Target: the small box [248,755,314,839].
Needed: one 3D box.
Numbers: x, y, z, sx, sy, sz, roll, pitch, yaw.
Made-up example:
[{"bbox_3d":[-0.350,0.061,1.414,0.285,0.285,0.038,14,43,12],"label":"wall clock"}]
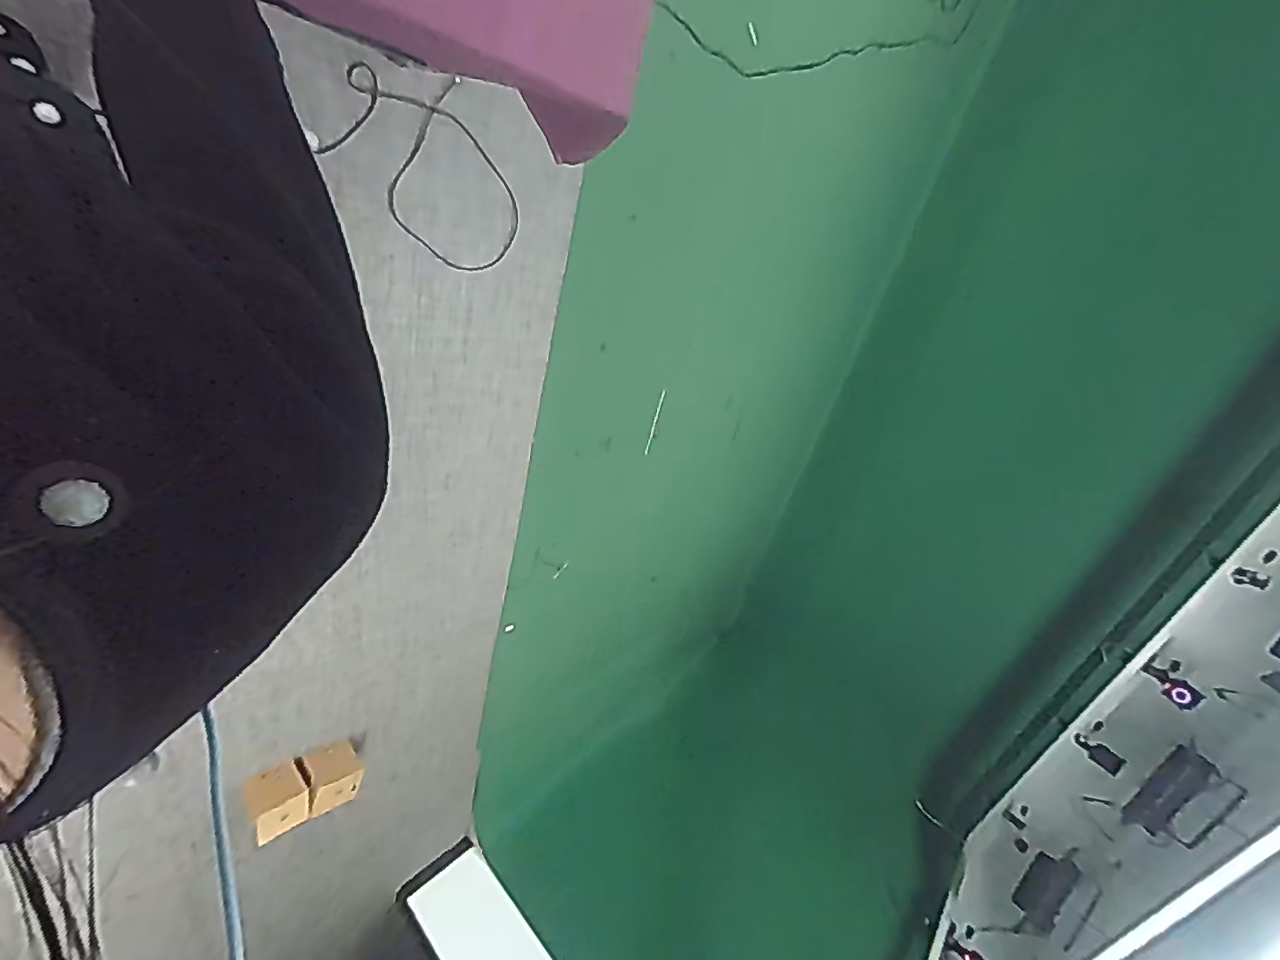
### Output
[{"bbox_3d":[-1.337,1.176,2.016,0.168,0.176,0.179,-16,130,-47],"label":"small box"}]
